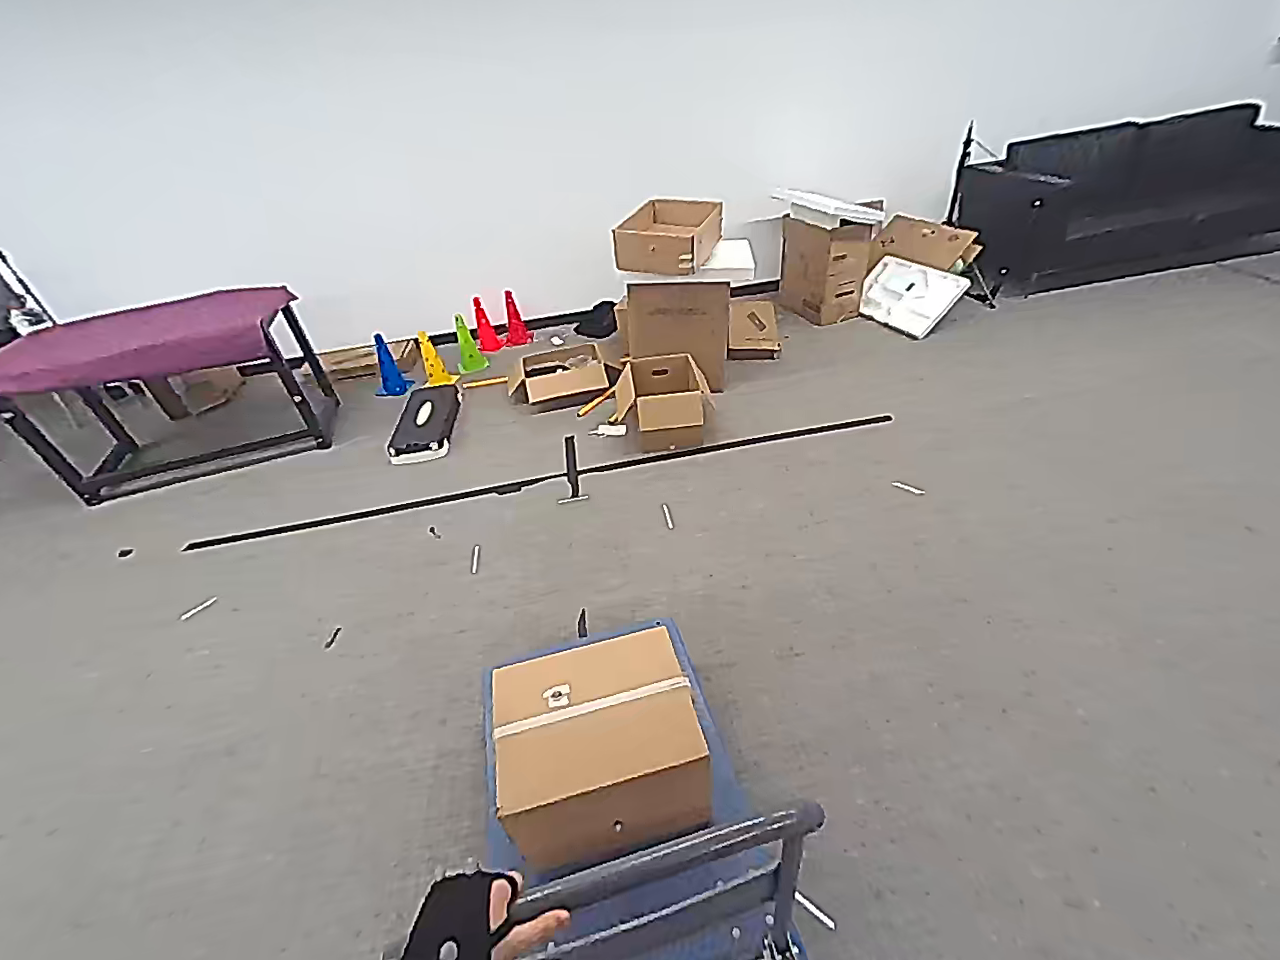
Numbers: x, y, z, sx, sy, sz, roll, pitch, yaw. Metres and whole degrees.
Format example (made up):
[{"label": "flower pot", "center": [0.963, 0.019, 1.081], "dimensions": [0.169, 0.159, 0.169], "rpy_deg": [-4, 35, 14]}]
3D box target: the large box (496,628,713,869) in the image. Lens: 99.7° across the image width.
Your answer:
[{"label": "large box", "center": [-0.079, 0.596, 1.215], "dimensions": [0.408, 0.320, 0.320], "rpy_deg": [-14, 37, -7]}]
